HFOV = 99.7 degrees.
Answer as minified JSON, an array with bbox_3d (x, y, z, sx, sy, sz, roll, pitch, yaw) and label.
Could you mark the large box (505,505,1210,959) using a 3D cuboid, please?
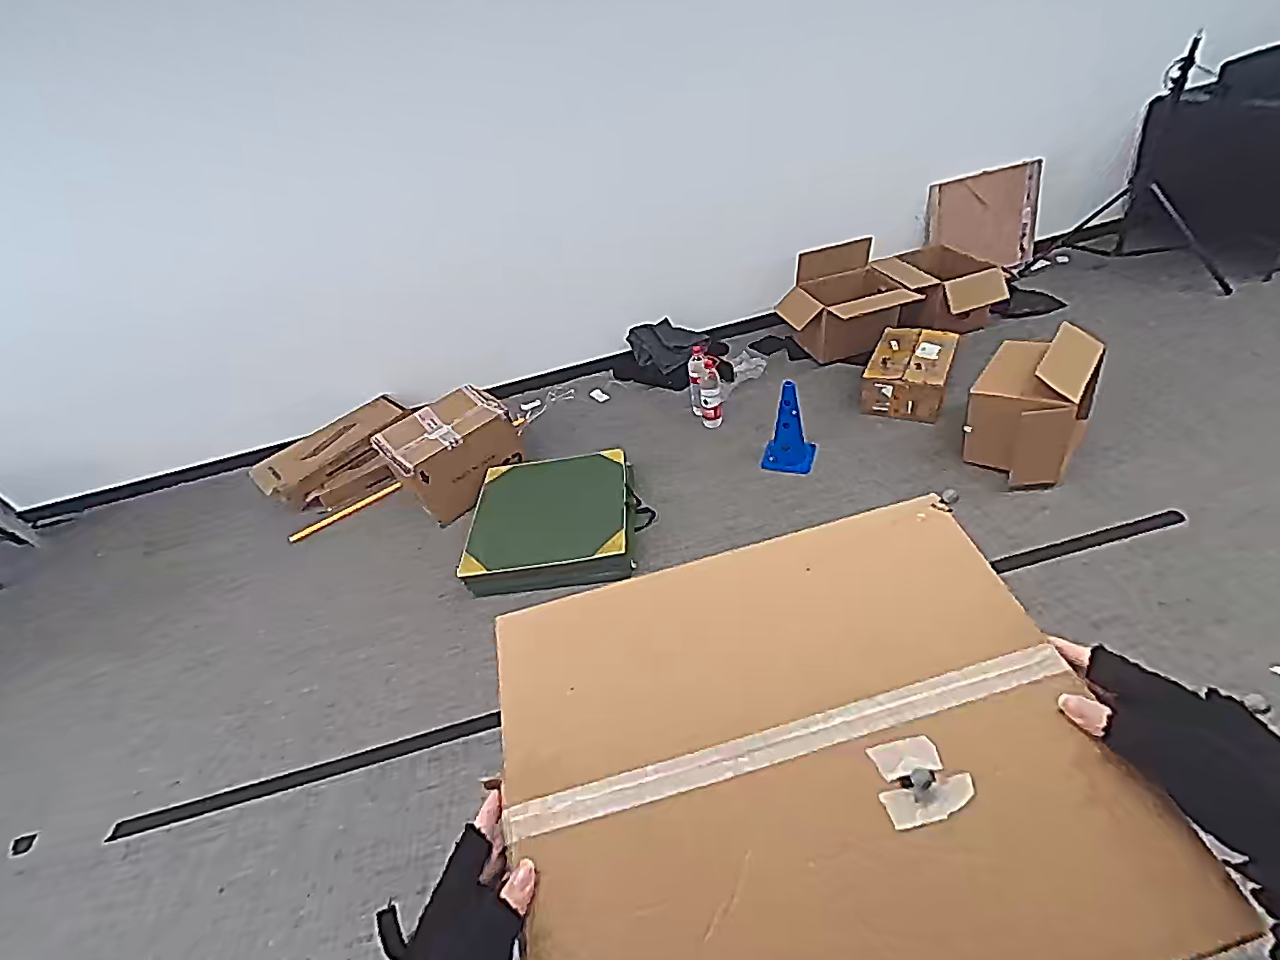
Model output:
[{"bbox_3d":[0.125,0.281,0.509,0.408,0.320,0.320,-15,51,-3],"label":"large box"}]
